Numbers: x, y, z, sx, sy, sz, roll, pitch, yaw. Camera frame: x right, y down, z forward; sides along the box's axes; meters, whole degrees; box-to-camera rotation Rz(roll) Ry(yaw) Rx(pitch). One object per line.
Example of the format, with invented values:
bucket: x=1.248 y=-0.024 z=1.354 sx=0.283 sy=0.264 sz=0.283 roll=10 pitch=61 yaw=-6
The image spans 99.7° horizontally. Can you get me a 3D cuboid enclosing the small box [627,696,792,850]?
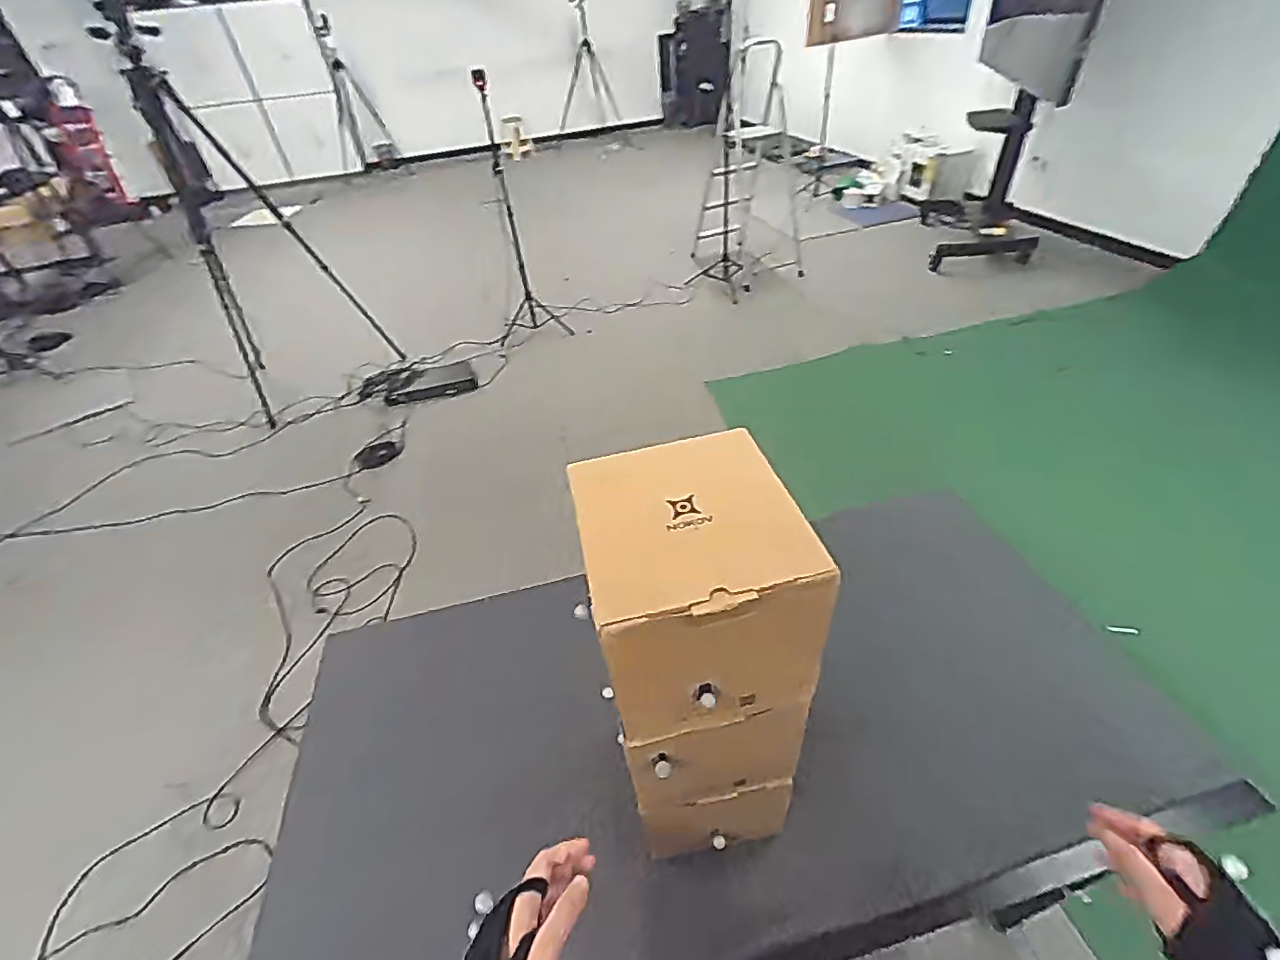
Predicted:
small box: x=0.073 y=0.320 z=0.669 sx=0.168 sy=0.176 sz=0.179 roll=-10 pitch=41 yaw=-3

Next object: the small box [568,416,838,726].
small box: x=0.040 y=0.072 z=0.459 sx=0.168 sy=0.176 sz=0.179 roll=-12 pitch=40 yaw=-7
